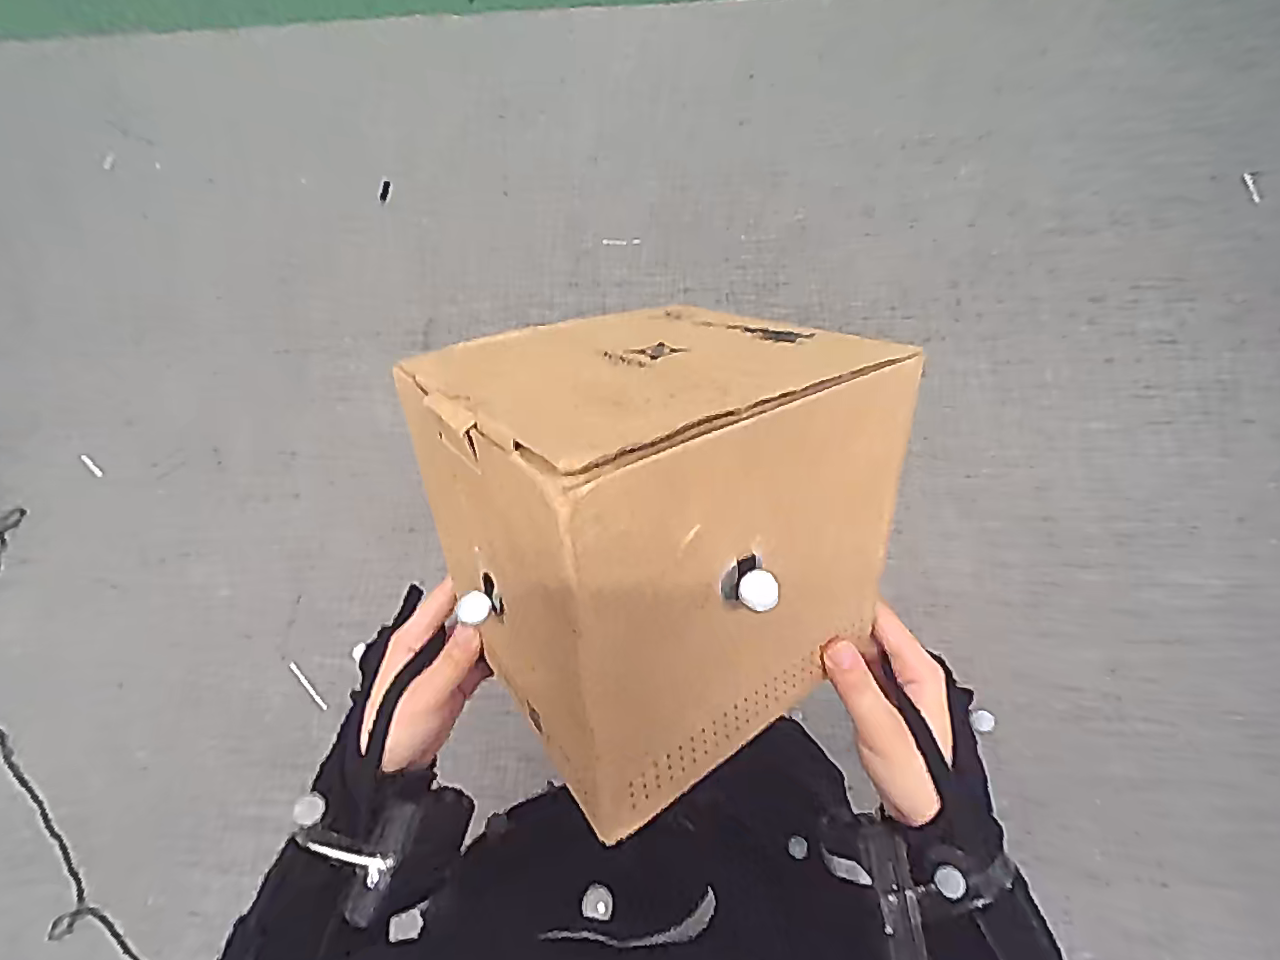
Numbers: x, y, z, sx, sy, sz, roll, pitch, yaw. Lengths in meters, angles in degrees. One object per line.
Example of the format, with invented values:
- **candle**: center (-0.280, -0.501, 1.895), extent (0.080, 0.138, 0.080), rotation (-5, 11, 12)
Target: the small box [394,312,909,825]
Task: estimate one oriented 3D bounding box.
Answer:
- **small box**: center (0.005, 0.022, 0.277), extent (0.179, 0.176, 0.168), rotation (-22, 33, -30)
